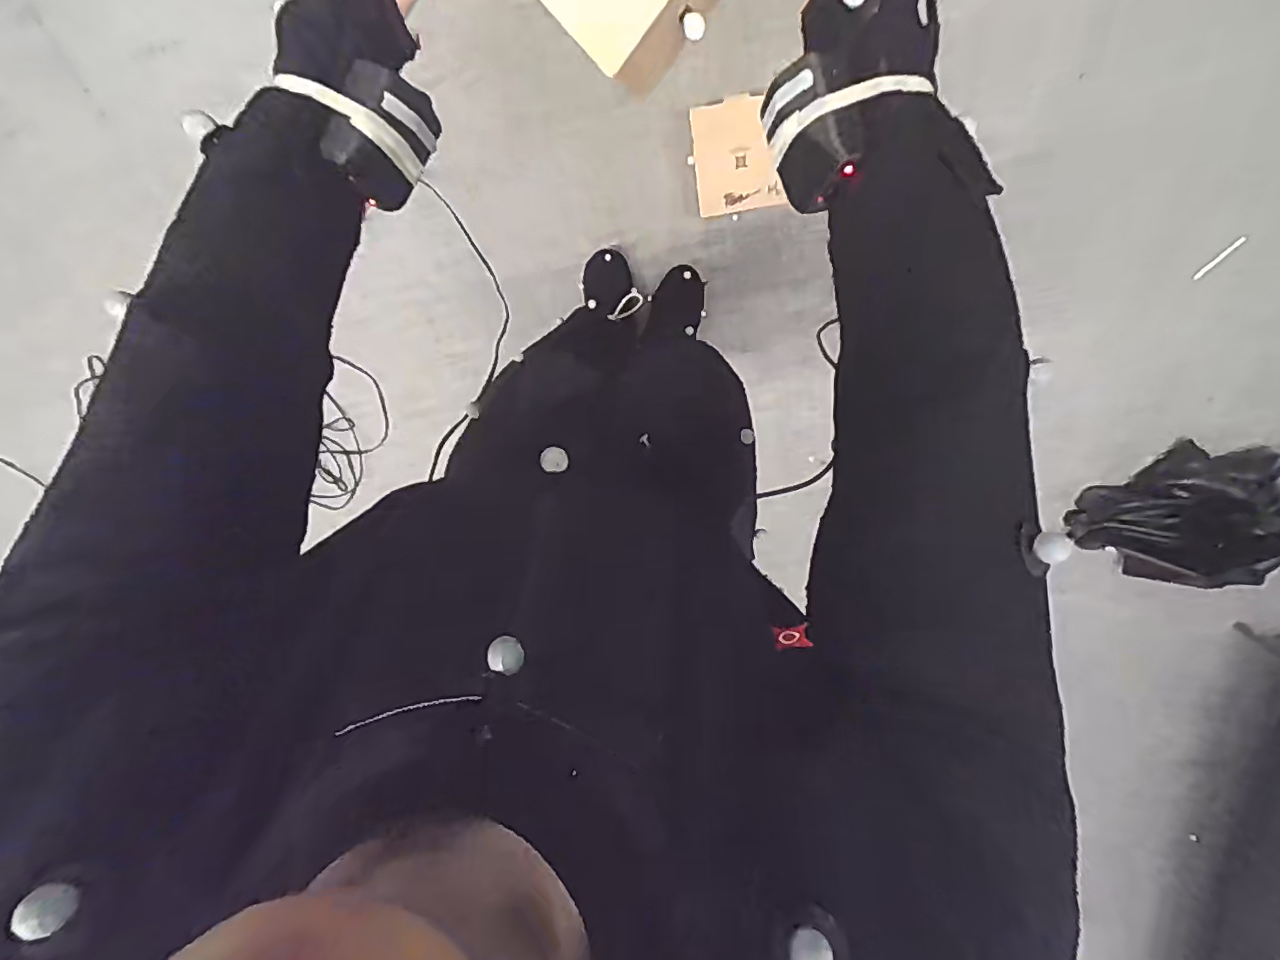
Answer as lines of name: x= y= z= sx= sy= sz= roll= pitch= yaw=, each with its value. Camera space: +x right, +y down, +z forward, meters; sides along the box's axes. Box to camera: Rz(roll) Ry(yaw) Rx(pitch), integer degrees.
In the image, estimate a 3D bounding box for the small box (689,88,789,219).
small box: x=0.183 y=-0.604 z=1.022 sx=0.168 sy=0.176 sz=0.179 roll=-6 pitch=114 yaw=9
